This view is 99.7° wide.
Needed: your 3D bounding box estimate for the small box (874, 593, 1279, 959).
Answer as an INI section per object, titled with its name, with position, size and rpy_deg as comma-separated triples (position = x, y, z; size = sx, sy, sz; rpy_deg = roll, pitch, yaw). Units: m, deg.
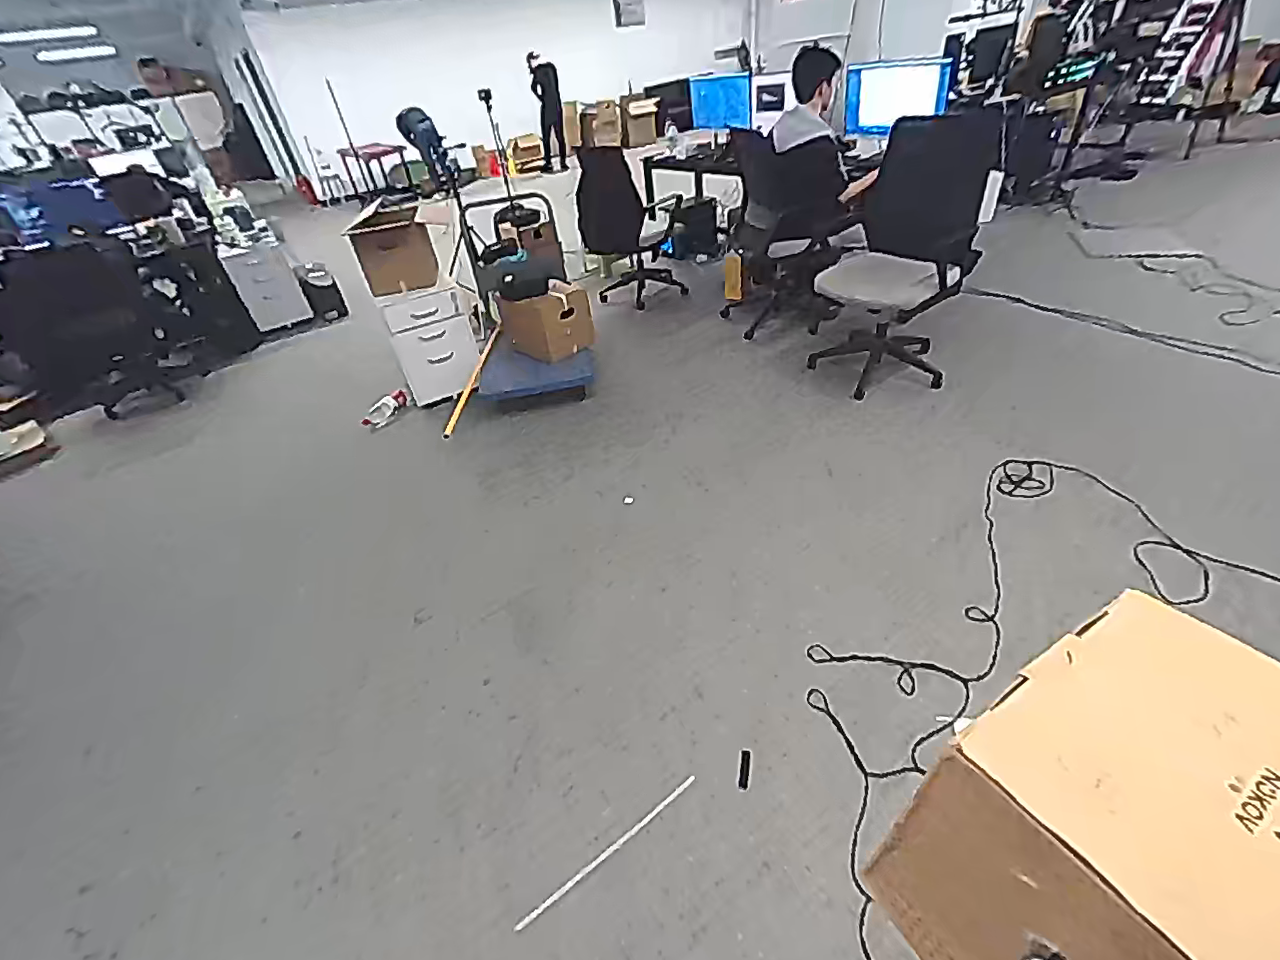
[small box]
position = 0.247, 0.195, 0.261
size = 0.168, 0.176, 0.179
rpy_deg = -21, 41, -24
